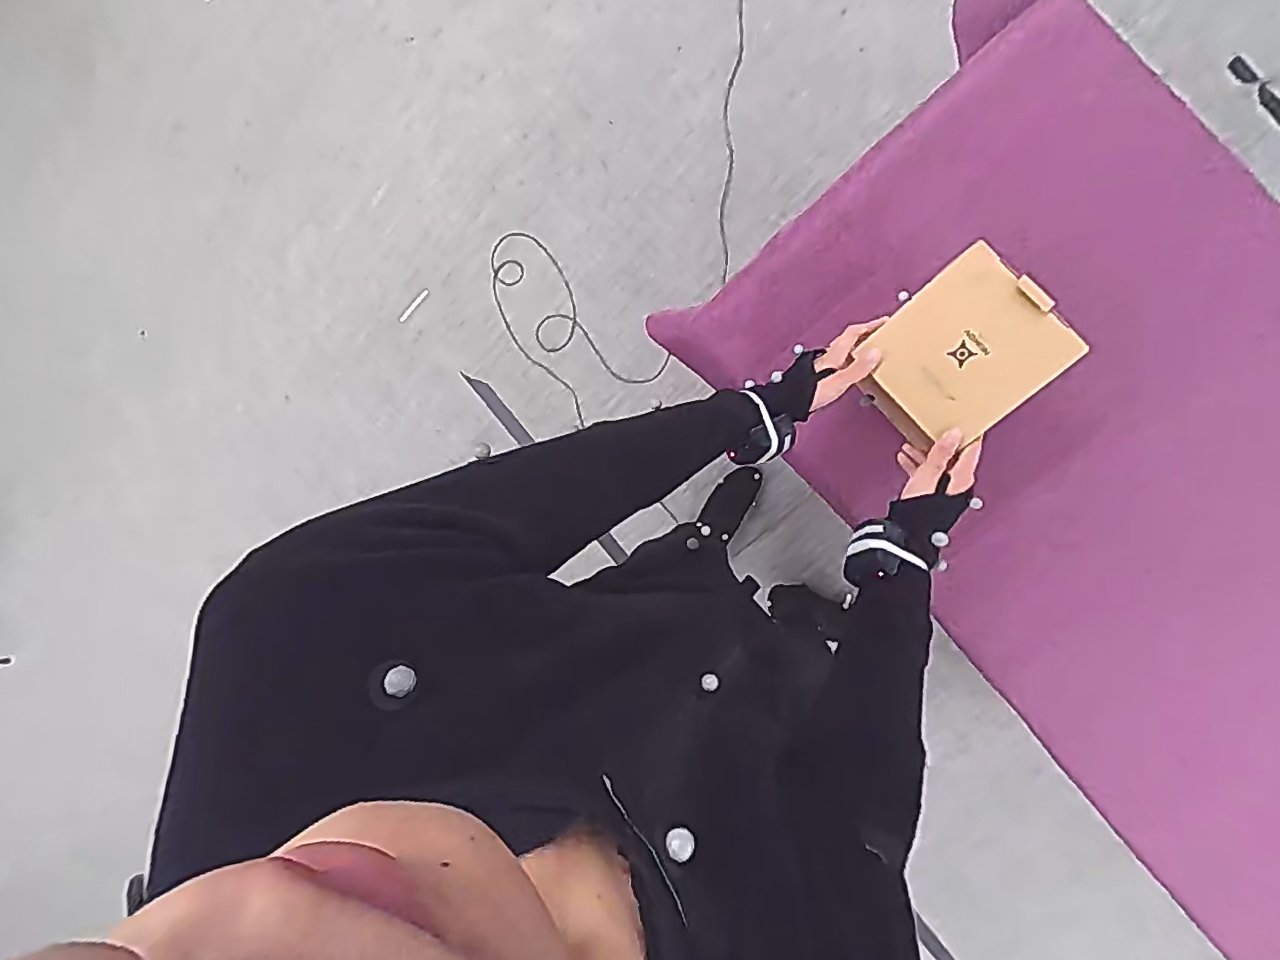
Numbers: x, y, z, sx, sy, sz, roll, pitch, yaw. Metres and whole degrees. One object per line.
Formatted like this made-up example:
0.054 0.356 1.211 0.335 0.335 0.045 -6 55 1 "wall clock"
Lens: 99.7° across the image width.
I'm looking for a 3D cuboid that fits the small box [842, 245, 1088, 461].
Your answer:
0.374 -0.146 0.667 0.179 0.176 0.168 -42 85 16 "small box"
